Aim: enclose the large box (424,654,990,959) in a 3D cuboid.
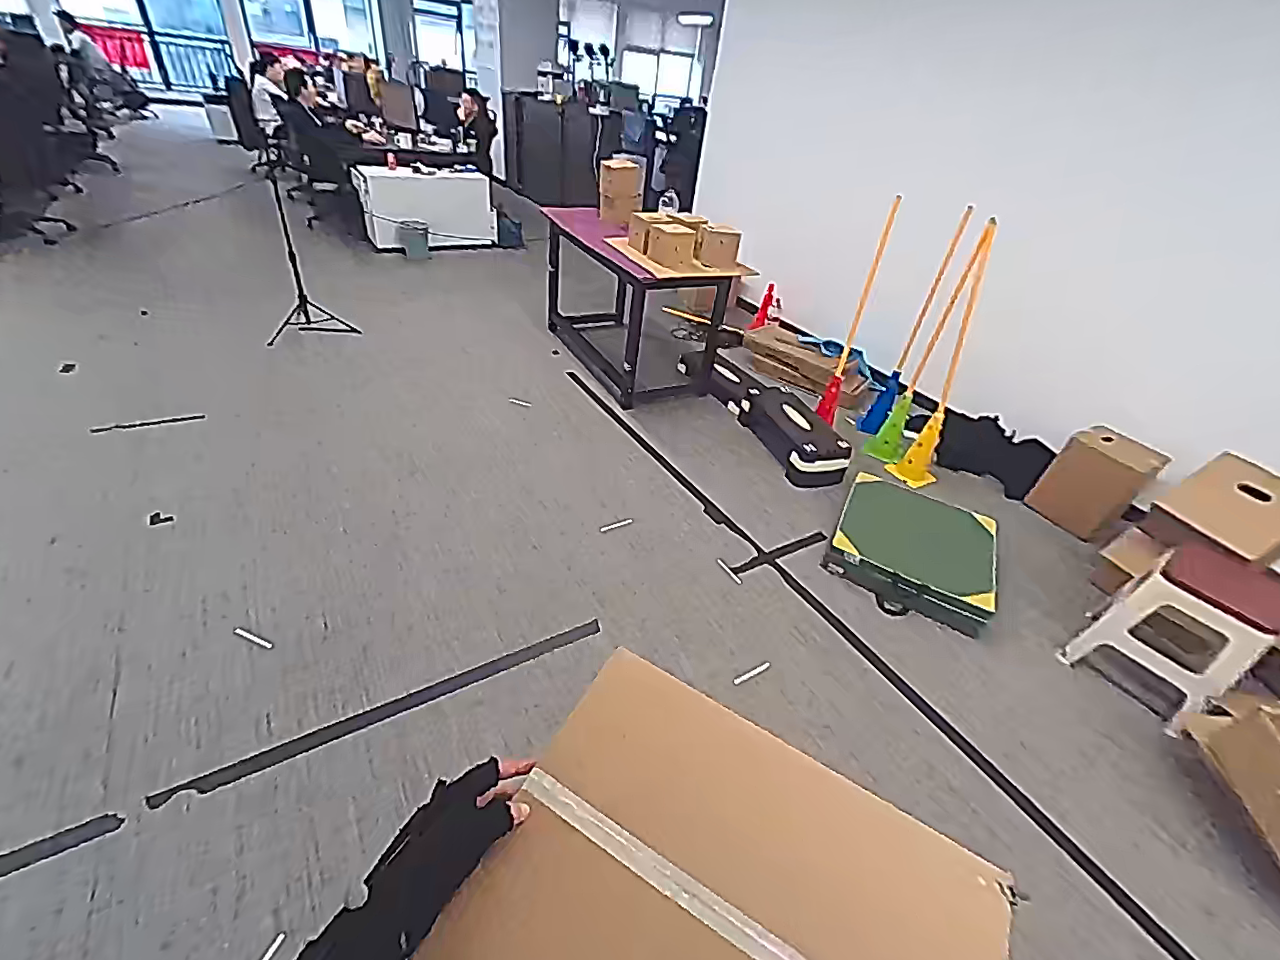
[{"bbox_3d":[0.061,0.465,0.563,0.408,0.320,0.320,26,50,18],"label":"large box"}]
